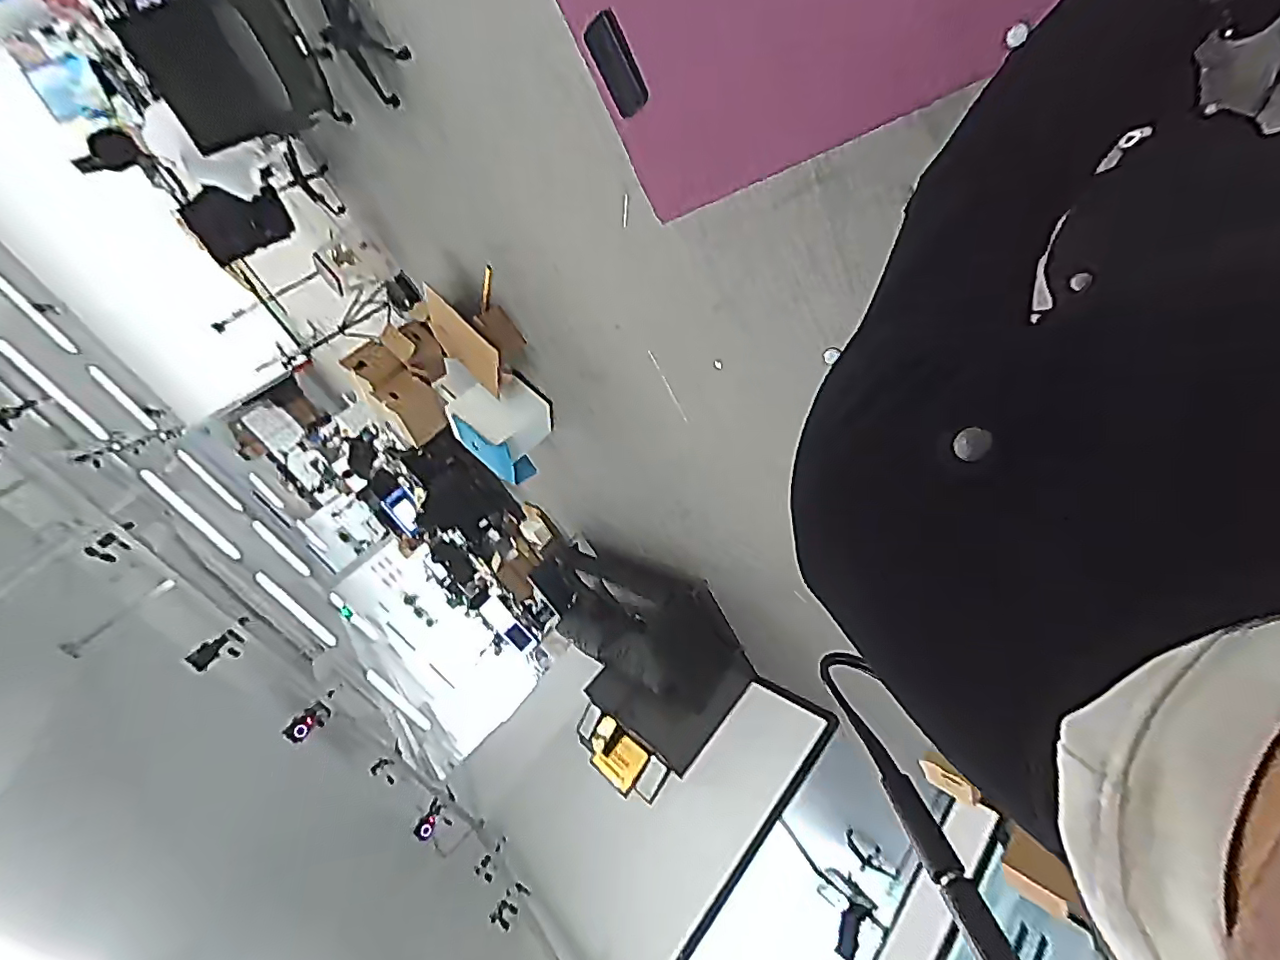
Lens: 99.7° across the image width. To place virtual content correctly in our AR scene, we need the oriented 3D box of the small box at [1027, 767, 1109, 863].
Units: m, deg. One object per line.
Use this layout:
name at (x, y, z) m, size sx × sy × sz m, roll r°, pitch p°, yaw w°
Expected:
small box at (1.355, 1.059, 1.713) m, size 0.168 × 0.176 × 0.179 m, roll 18°, pitch 143°, yaw 48°

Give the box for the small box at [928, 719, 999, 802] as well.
small box at (1.168, 1.003, 1.947) m, size 0.168 × 0.176 × 0.179 m, roll 19°, pitch 144°, yaw 50°

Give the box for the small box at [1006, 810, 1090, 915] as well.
small box at (1.244, 1.161, 1.649) m, size 0.168 × 0.176 × 0.179 m, roll 17°, pitch 143°, yaw 49°
